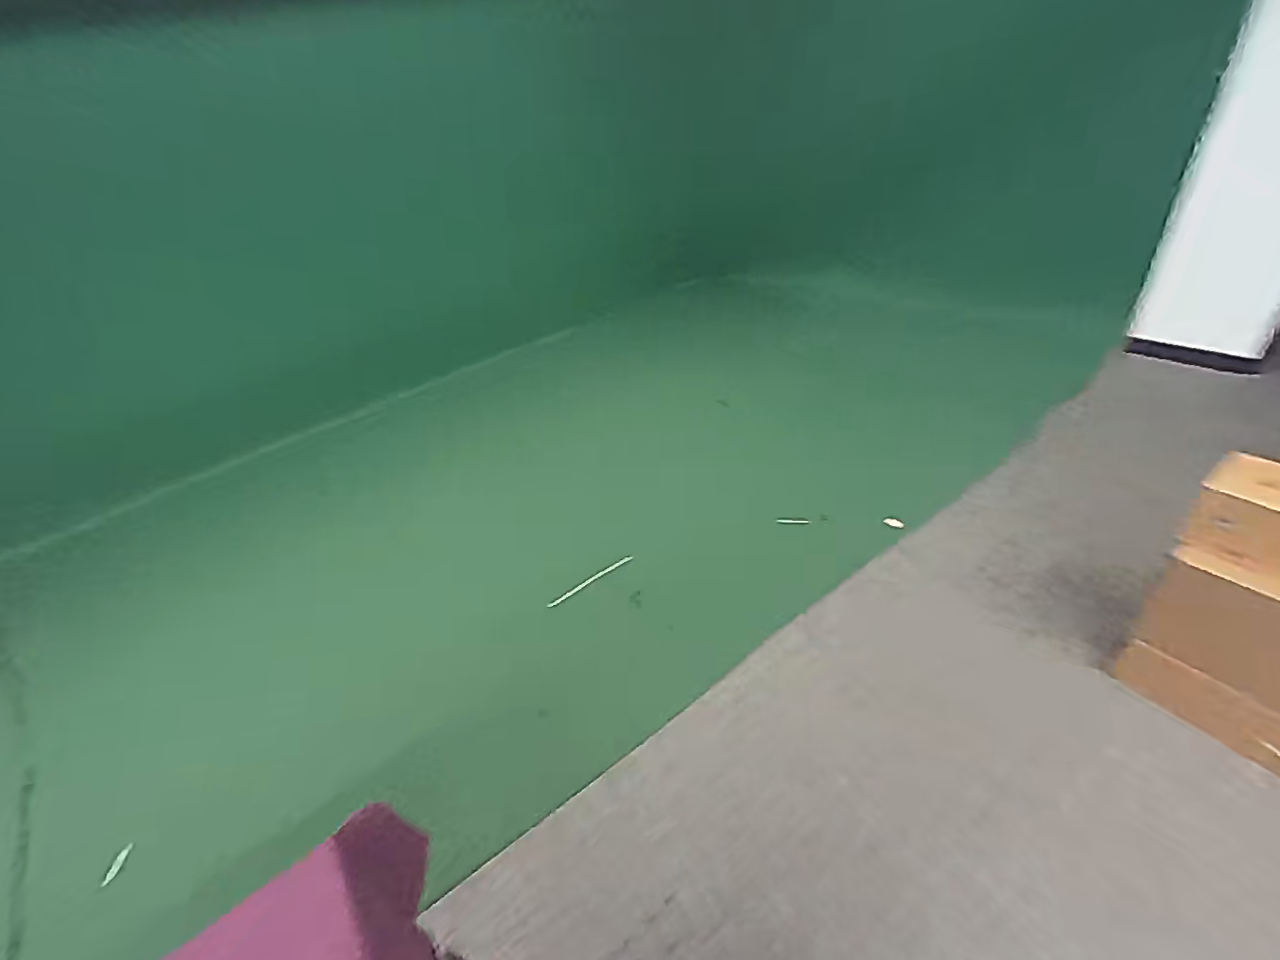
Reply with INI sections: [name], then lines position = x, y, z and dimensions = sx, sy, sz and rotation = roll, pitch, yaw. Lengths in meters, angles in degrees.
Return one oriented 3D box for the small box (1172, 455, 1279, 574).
[small box]
position = 1.349, 0.078, 1.207
dimensions = 0.179, 0.176, 0.168
rotation = -29, 42, -21
